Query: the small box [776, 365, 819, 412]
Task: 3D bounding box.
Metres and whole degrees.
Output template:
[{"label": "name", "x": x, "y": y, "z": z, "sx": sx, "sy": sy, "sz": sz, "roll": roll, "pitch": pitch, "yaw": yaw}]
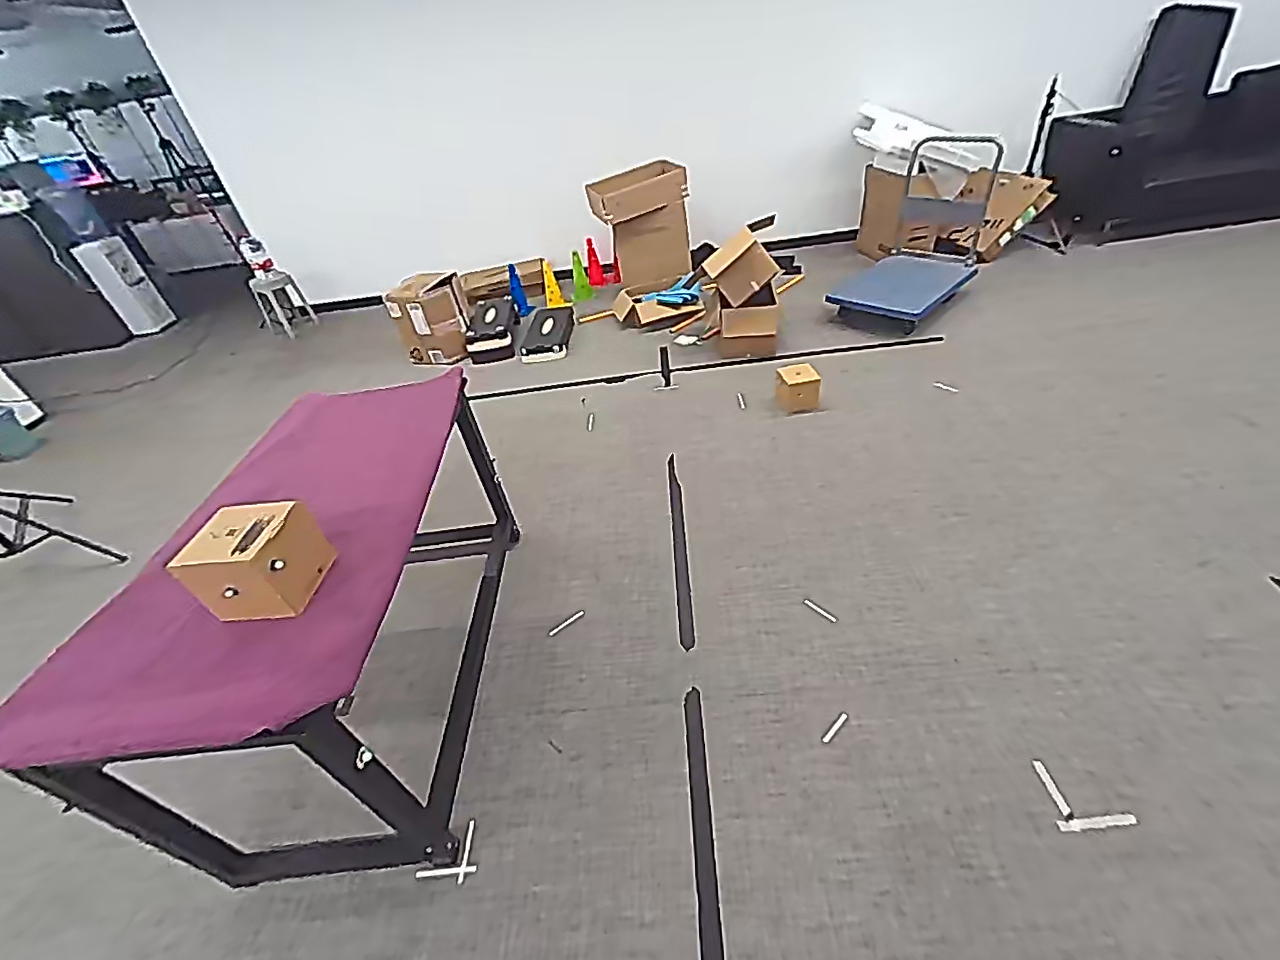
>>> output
[{"label": "small box", "x": 0.792, "y": -0.454, "z": 2.728, "sx": 0.168, "sy": 0.176, "sz": 0.179, "roll": -11, "pitch": 38, "yaw": -2}]
